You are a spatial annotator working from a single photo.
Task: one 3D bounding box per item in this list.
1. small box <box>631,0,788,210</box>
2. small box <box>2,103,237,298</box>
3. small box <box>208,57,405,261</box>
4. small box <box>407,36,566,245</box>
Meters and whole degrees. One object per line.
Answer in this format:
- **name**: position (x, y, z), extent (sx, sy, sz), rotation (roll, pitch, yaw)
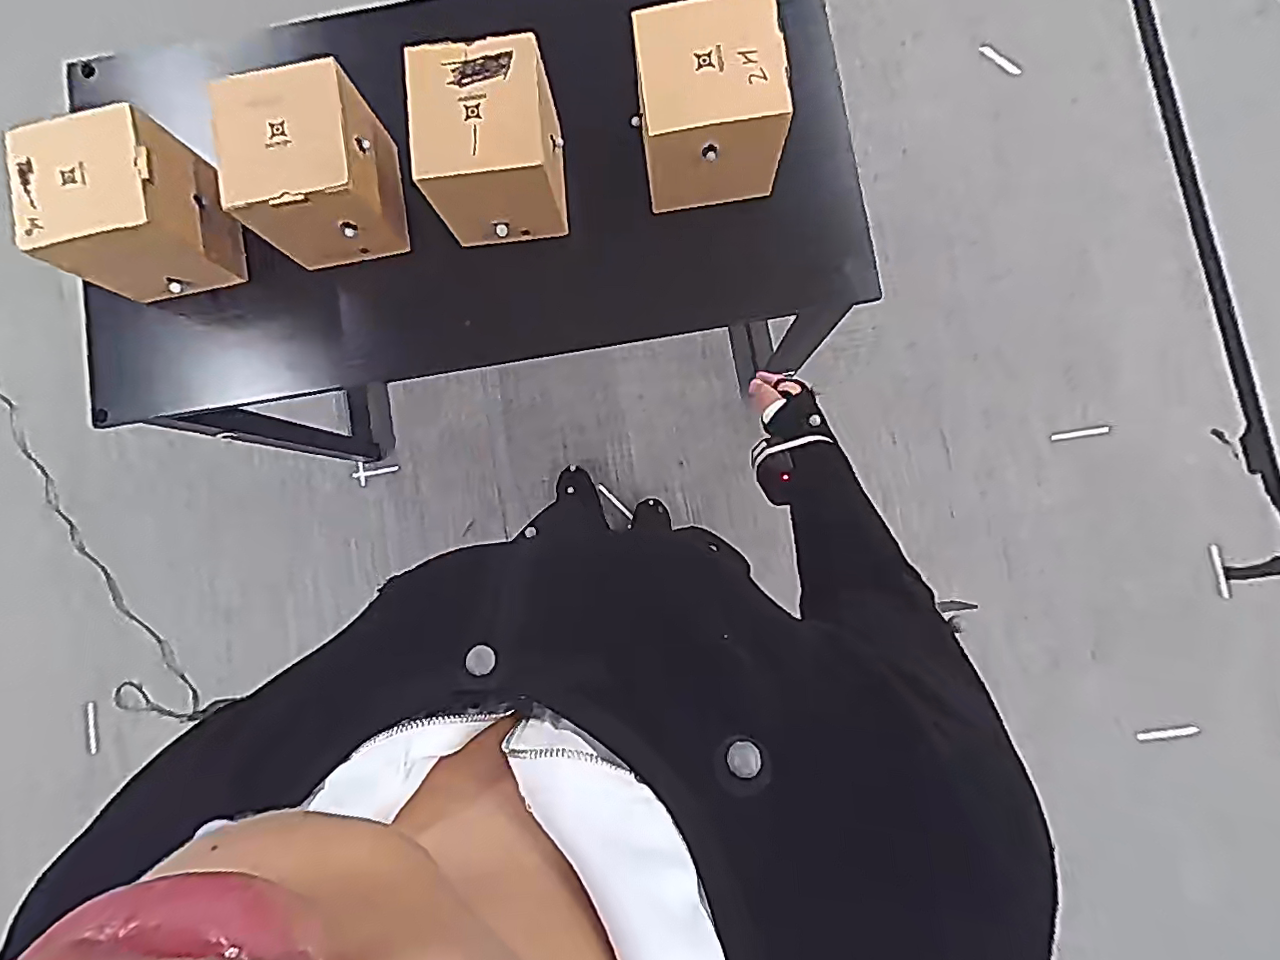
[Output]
- **small box**: position (0.088, -0.494, 0.734), extent (0.179, 0.176, 0.168), rotation (-7, 86, 2)
- **small box**: position (-0.706, -0.377, 0.758), extent (0.179, 0.176, 0.168), rotation (-11, 85, 0)
- **small box**: position (-0.449, -0.427, 0.753), extent (0.168, 0.176, 0.179), rotation (-10, 84, 1)
- **small box**: position (-0.200, -0.452, 0.743), extent (0.168, 0.176, 0.179), rotation (-5, 86, 2)
